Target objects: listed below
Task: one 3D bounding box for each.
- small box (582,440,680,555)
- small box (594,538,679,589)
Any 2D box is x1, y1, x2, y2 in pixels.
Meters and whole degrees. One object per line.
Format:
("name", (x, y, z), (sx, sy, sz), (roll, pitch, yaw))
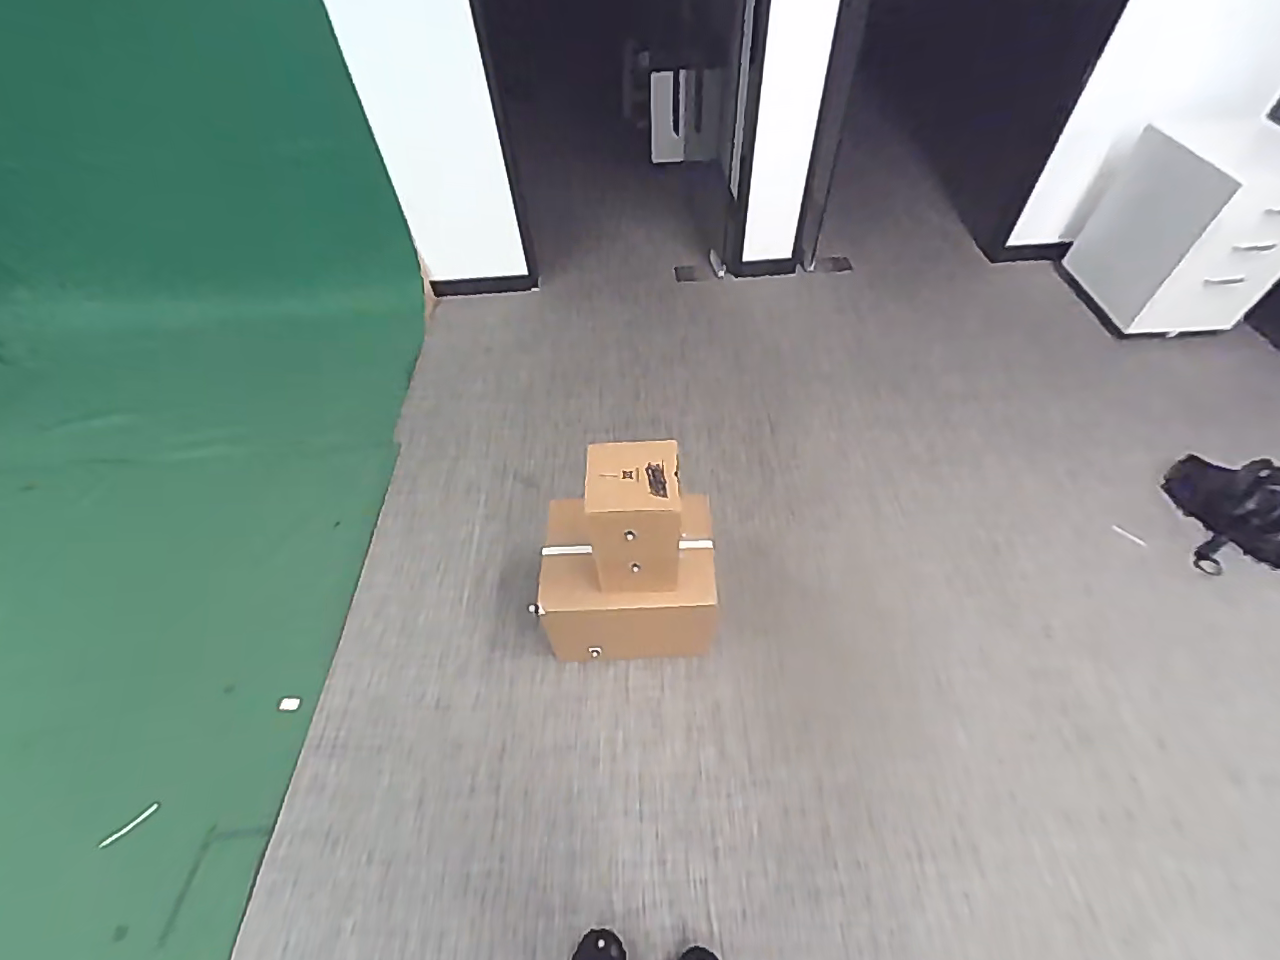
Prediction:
("small box", (-0.012, 0.038, 1.072), (0.179, 0.176, 0.168), (-3, 53, 3))
("small box", (-0.004, 0.134, 1.205), (0.179, 0.176, 0.168), (-3, 54, 1))
